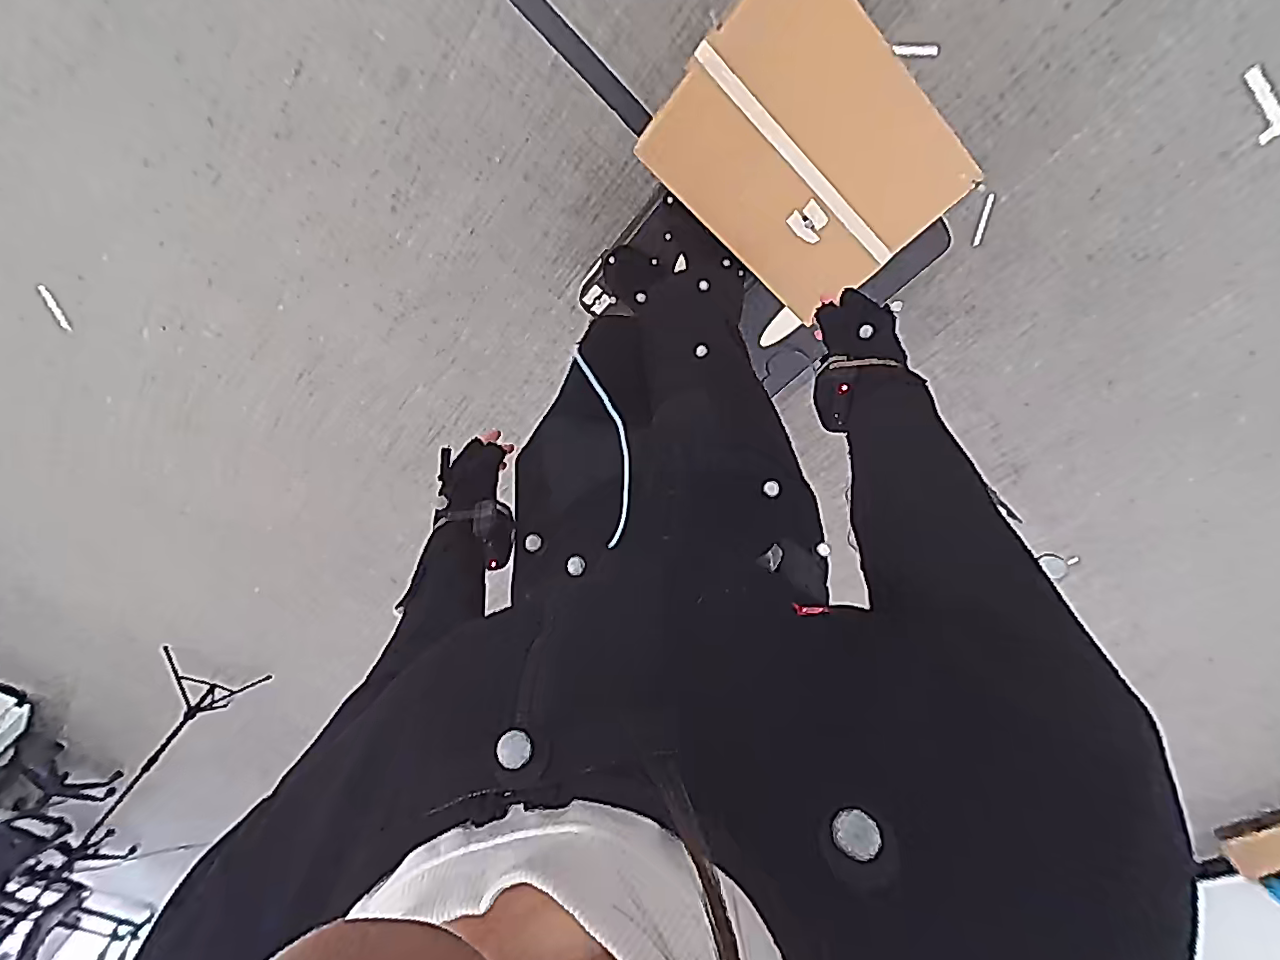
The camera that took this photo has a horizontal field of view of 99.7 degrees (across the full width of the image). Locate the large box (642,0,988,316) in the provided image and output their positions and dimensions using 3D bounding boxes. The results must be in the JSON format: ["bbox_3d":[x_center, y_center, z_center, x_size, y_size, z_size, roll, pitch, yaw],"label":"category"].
[{"bbox_3d":[0.265,-0.565,0.894,0.408,0.320,0.320,36,129,-20],"label":"large box"}]
